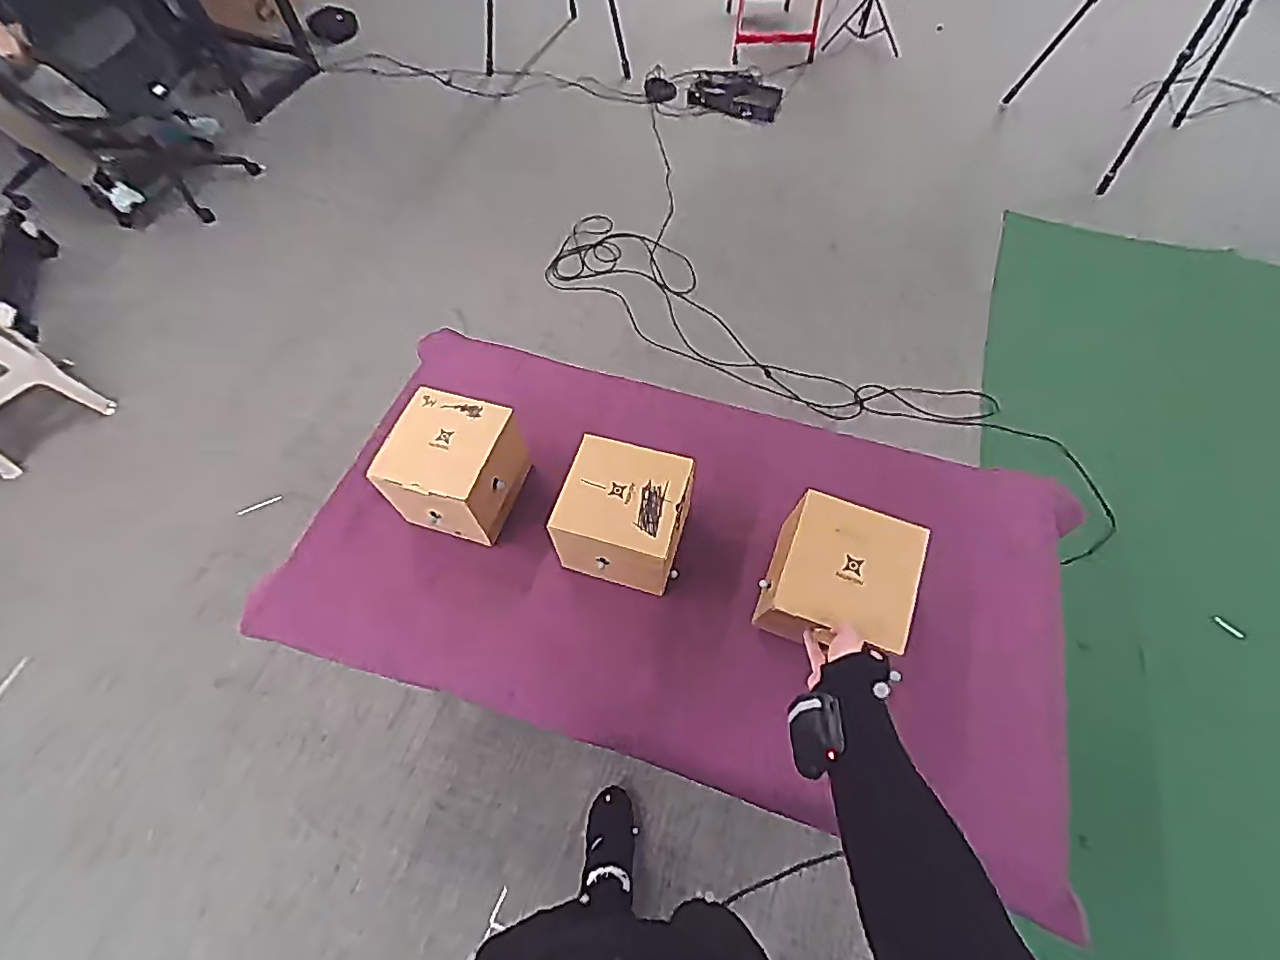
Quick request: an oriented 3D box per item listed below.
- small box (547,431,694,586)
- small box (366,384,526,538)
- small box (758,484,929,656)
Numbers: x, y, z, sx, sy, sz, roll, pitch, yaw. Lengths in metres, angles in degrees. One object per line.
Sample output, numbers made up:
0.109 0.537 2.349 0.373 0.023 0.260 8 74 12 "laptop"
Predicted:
-0.023 0.052 0.845 0.179 0.176 0.168 14 63 9 "small box"
-0.302 -0.025 0.890 0.168 0.176 0.179 15 63 8 "small box"
0.274 0.136 0.766 0.168 0.176 0.179 20 70 10 "small box"
